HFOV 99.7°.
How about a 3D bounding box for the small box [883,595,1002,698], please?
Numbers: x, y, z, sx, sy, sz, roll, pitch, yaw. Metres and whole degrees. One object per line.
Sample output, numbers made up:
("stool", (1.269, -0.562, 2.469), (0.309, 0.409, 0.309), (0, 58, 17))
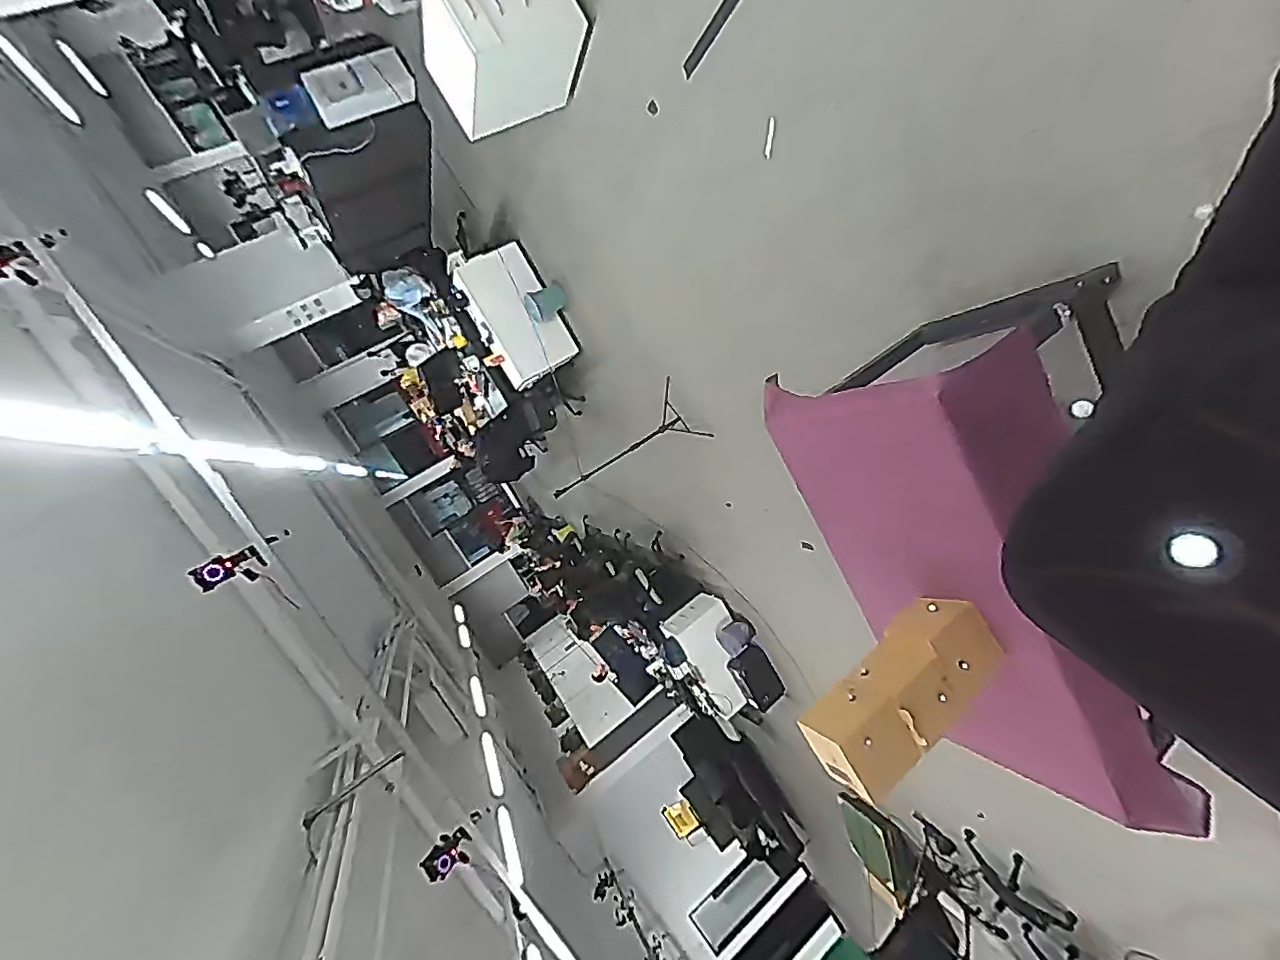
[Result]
("small box", (0.776, 0.419, 1.386), (0.179, 0.176, 0.168), (57, 162, -1))

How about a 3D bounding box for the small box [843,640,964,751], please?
("small box", (0.655, 0.525, 1.346), (0.168, 0.176, 0.179), (57, 162, -6))
